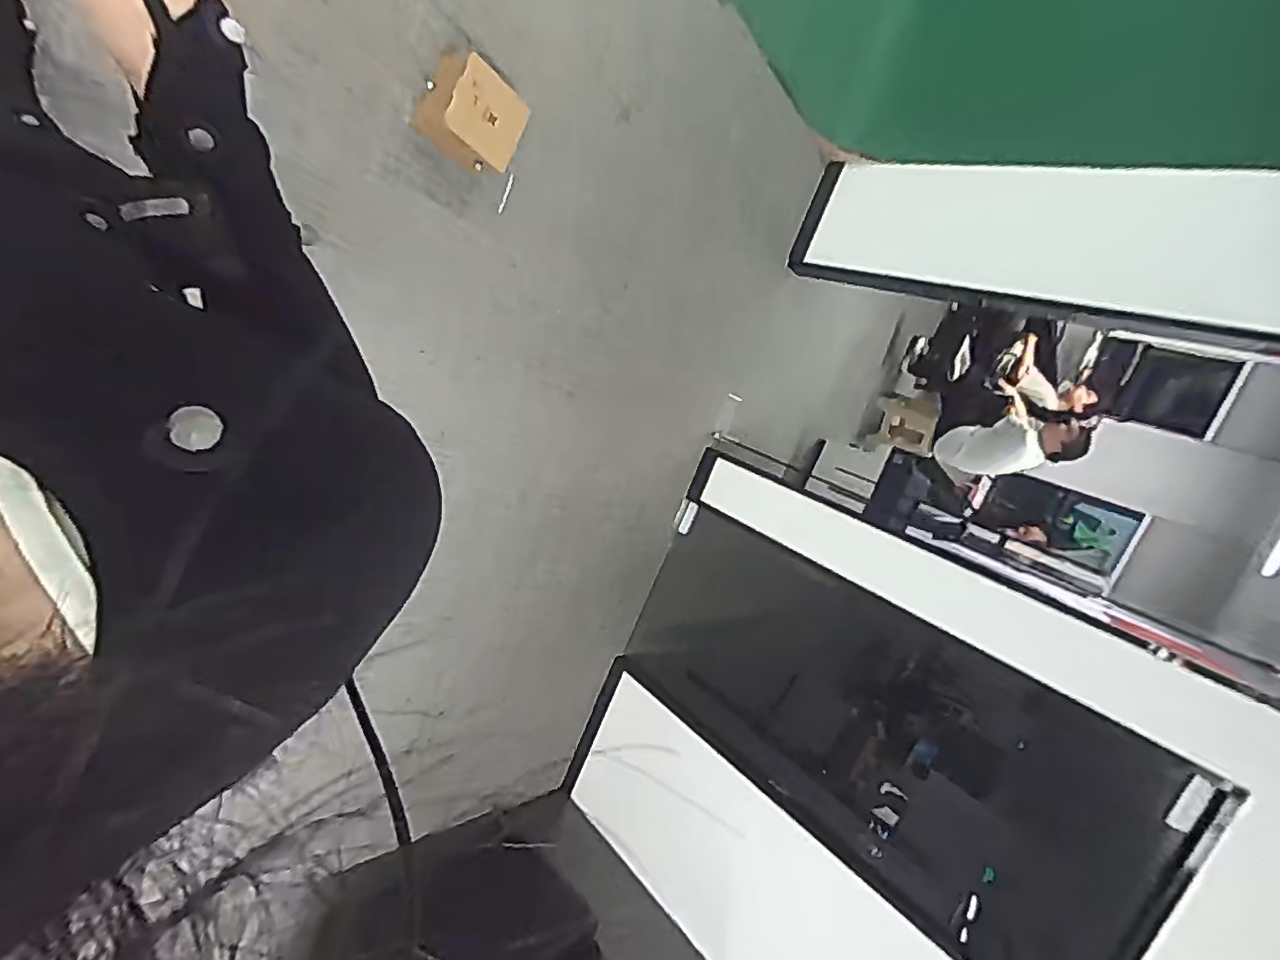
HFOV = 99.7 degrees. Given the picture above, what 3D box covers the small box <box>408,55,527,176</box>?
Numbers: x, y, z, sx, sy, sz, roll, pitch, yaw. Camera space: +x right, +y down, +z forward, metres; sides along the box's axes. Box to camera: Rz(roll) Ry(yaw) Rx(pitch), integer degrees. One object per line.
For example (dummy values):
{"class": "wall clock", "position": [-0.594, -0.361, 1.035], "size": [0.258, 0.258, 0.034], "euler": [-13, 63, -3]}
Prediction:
{"class": "small box", "position": [-0.408, -0.853, 1.275], "size": [0.179, 0.176, 0.168], "euler": [21, 96, -52]}
